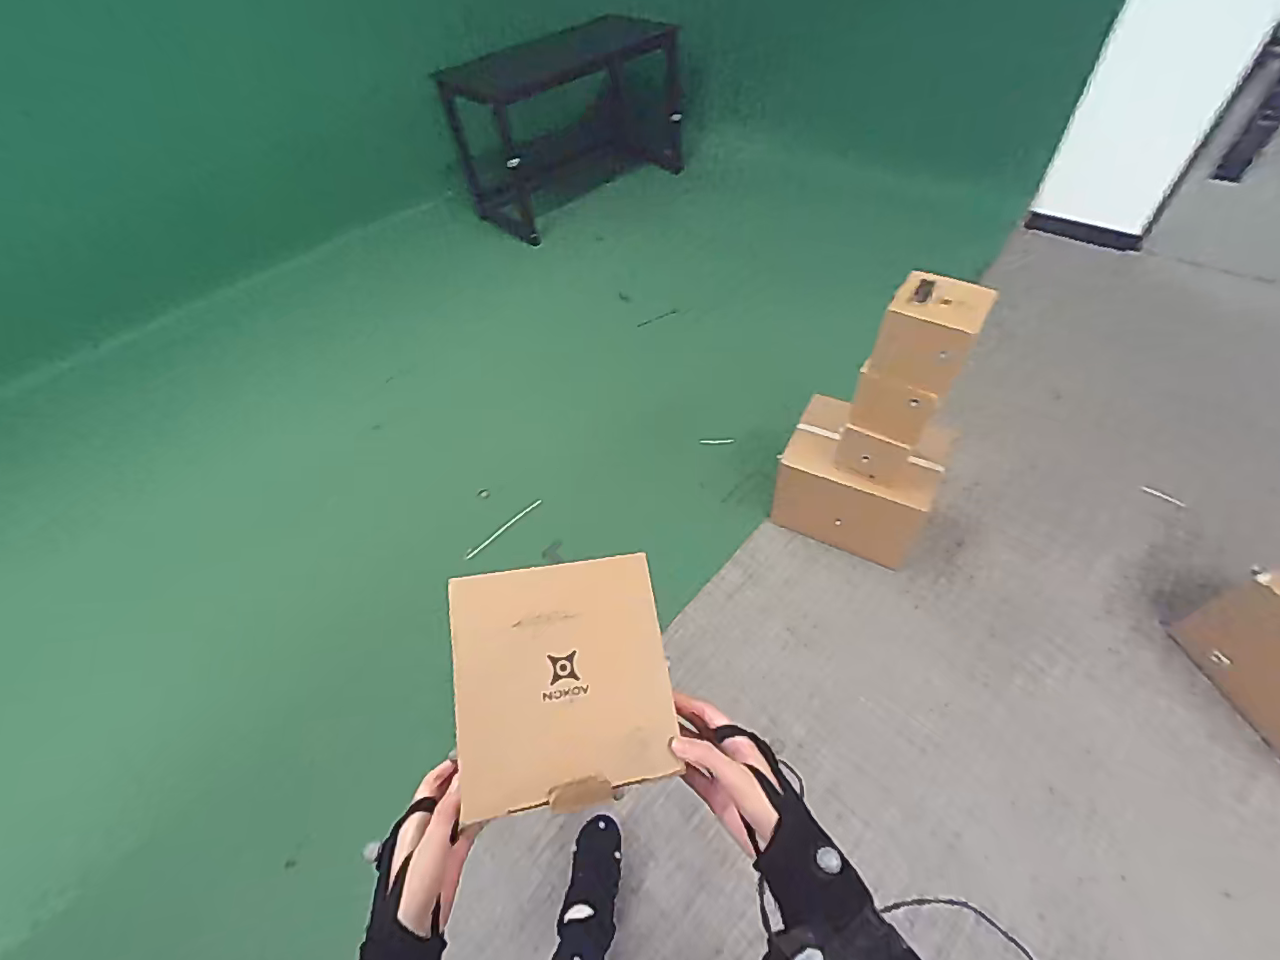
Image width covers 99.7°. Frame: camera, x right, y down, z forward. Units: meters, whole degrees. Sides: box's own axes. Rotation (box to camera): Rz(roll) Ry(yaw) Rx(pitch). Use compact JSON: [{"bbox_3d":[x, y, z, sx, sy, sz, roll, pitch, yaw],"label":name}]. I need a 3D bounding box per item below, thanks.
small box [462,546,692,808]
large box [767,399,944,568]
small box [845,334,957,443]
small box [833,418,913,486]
[{"bbox_3d":[-0.065,0.172,0.490,0.168,0.176,0.179,-4,66,-14],"label":"small box"},{"bbox_3d":[0.640,0.009,1.646,0.408,0.320,0.320,20,55,22],"label":"large box"},{"bbox_3d":[0.620,-0.217,1.306,0.179,0.176,0.168,28,59,24],"label":"small box"},{"bbox_3d":[0.627,-0.113,1.430,0.168,0.176,0.179,26,59,24],"label":"small box"}]
